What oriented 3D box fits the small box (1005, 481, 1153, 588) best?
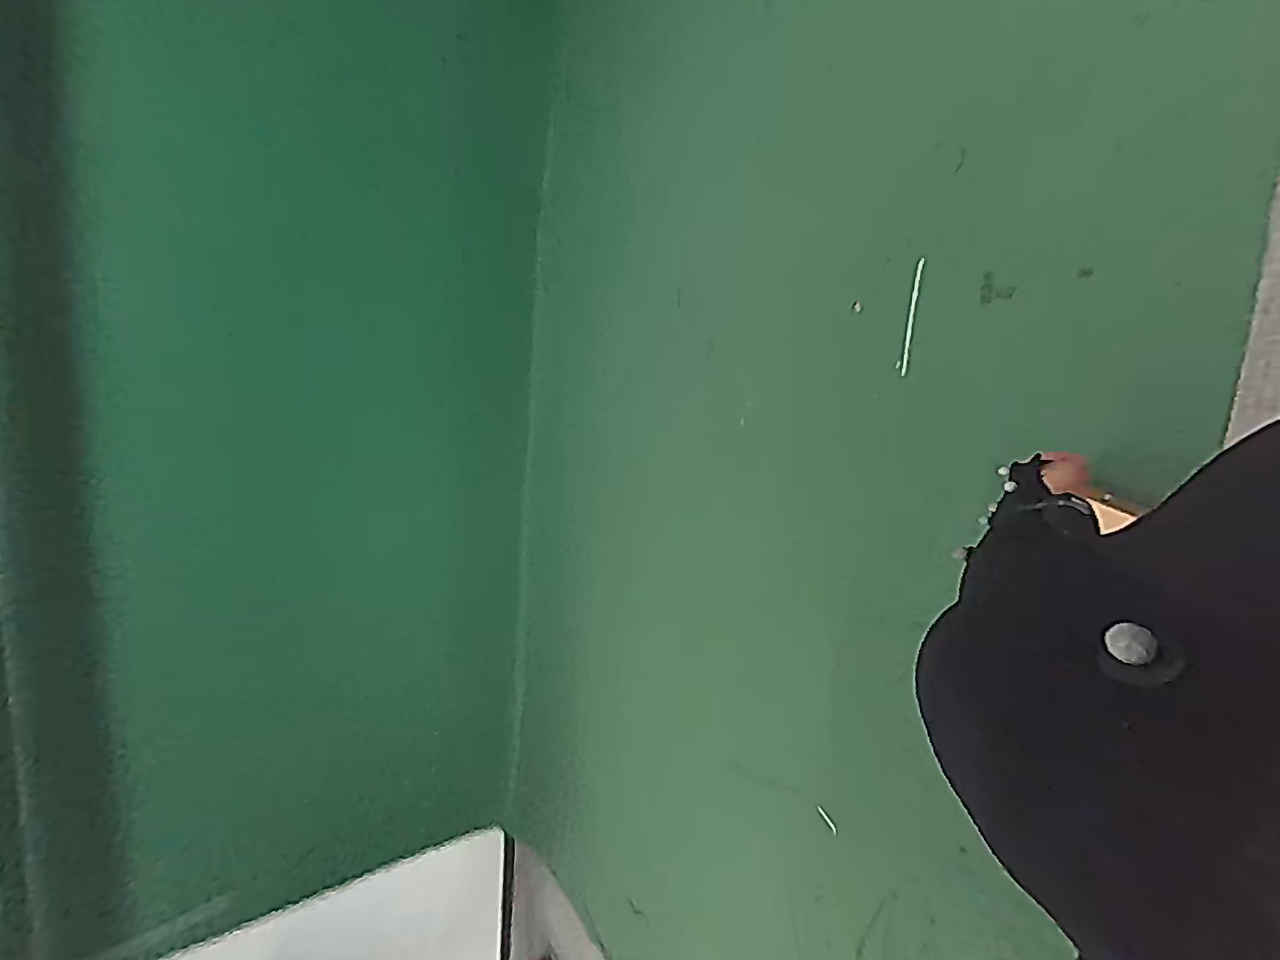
[{"bbox_3d":[0.943,0.106,1.160,0.179,0.176,0.168,38,120,46],"label":"small box"}]
